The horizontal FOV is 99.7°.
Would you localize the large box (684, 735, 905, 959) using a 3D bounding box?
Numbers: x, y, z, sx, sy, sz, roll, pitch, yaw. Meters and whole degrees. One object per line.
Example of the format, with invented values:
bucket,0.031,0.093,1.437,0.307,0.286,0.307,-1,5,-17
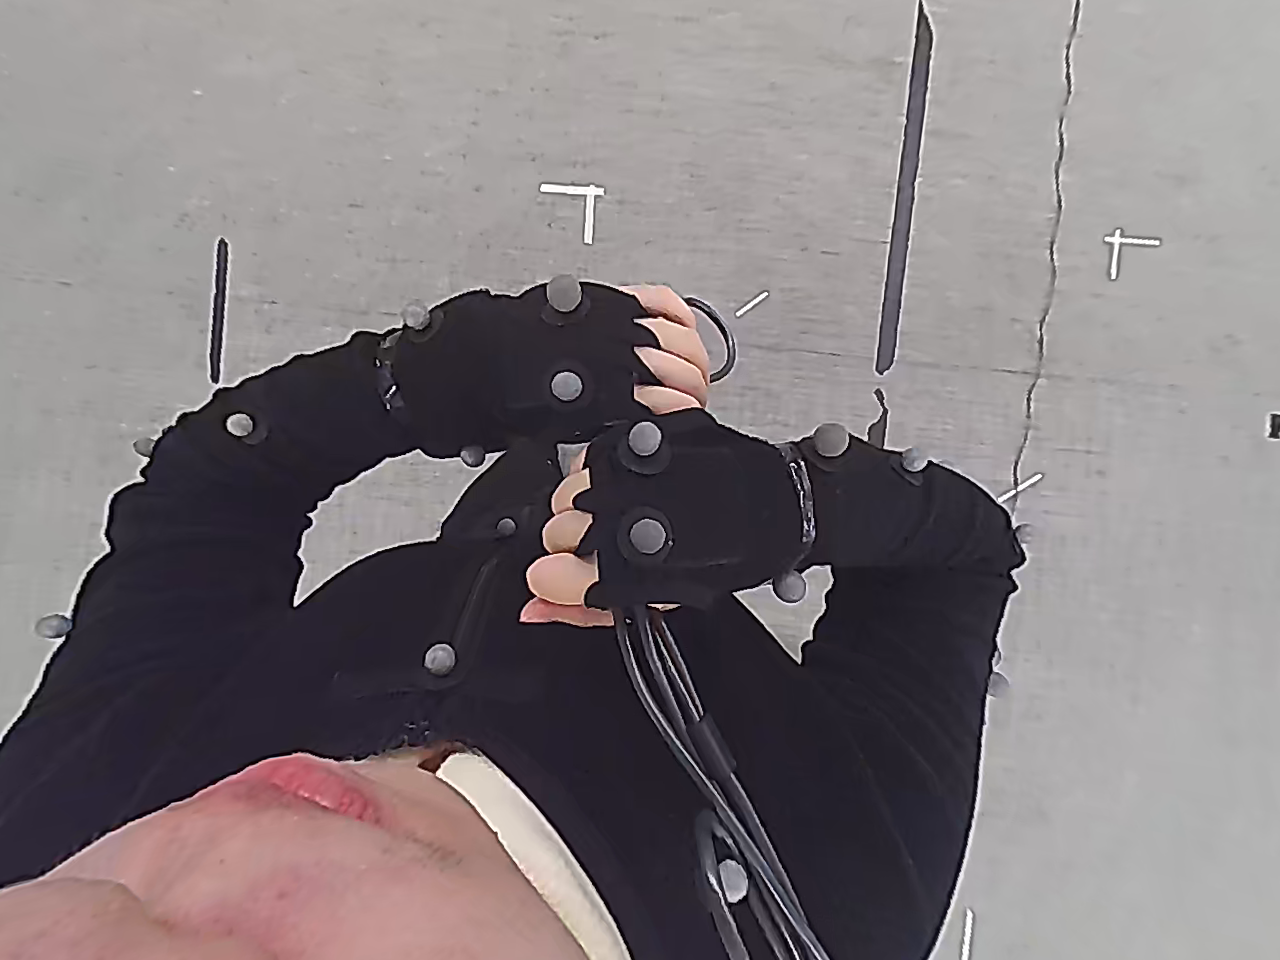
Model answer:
large box,0.306,0.850,1.178,0.320,0.320,0.408,17,92,0
